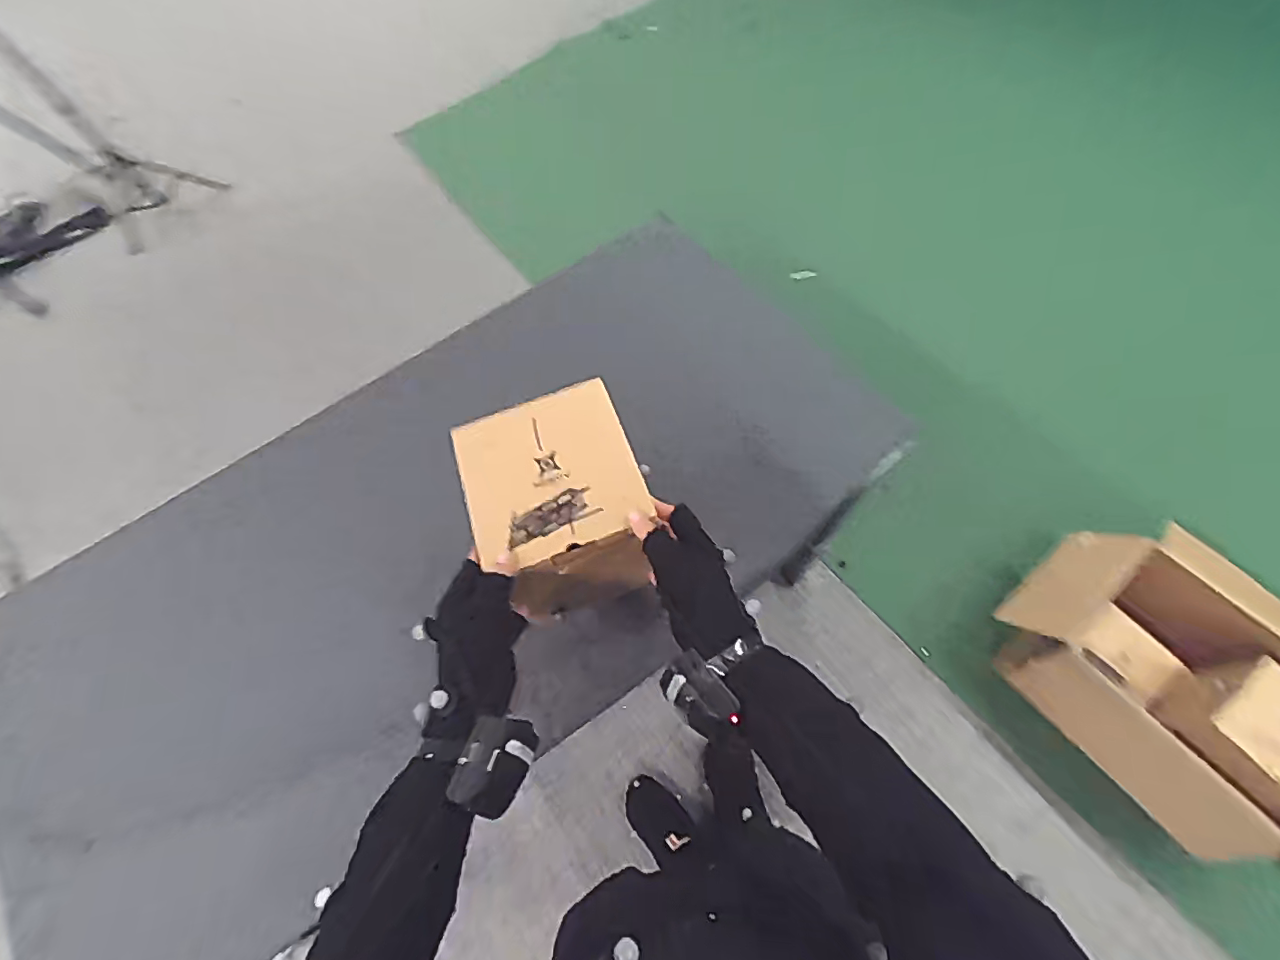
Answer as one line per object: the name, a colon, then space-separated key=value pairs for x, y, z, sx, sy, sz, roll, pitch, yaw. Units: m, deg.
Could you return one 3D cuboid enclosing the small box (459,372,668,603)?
small box: x=-0.073 y=0.021 z=0.585 sx=0.168 sy=0.176 sz=0.179 roll=-19 pitch=63 yaw=-3
